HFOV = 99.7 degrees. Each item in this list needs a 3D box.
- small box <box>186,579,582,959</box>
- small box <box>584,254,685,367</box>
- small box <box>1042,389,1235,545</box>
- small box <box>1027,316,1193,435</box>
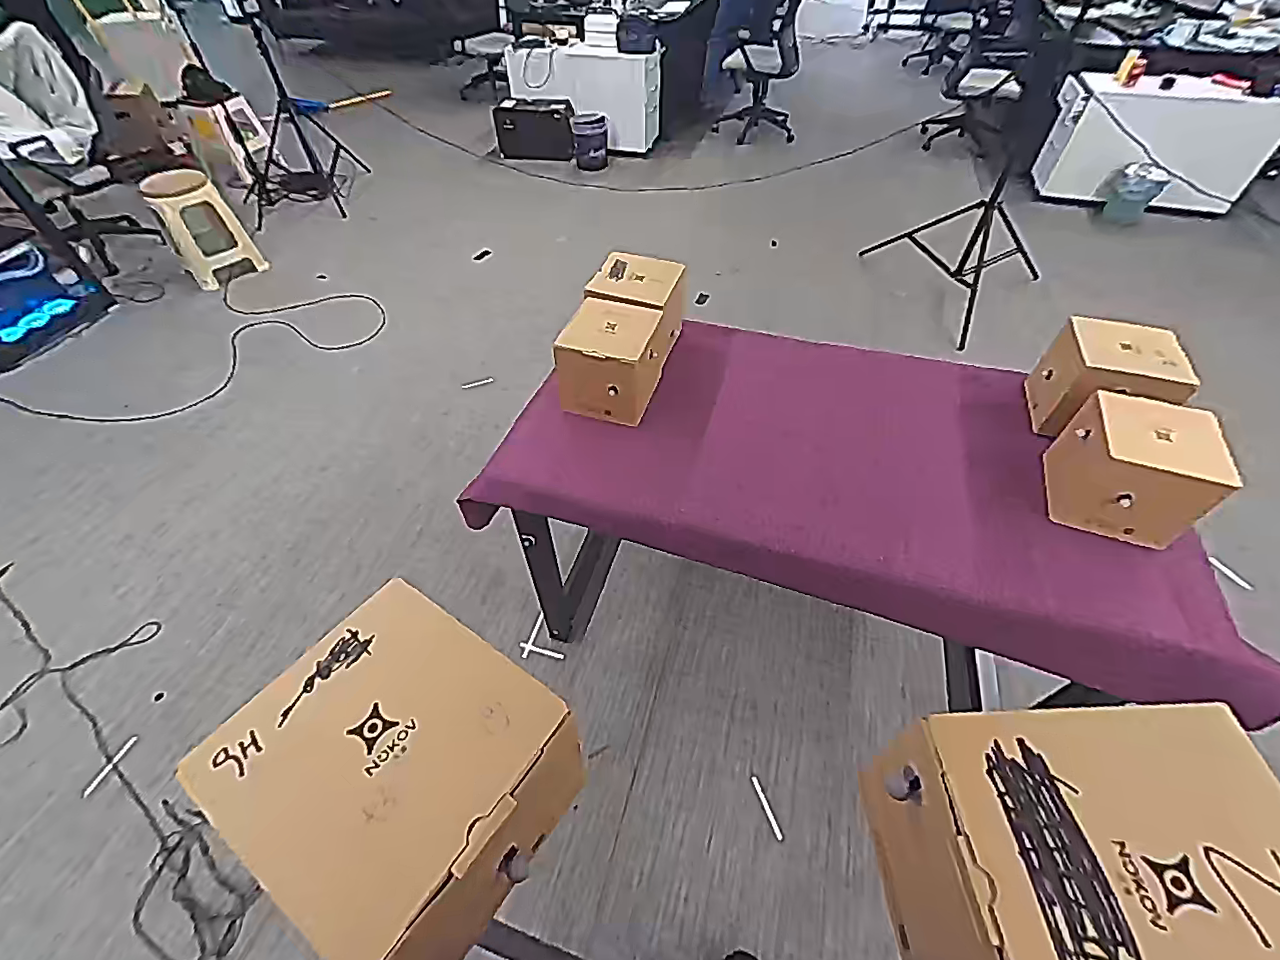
[{"bbox_3d":[-0.155,0.213,0.393,0.179,0.176,0.168,29,53,21],"label":"small box"},{"bbox_3d":[-0.010,-0.375,1.209,0.179,0.176,0.168,16,53,12],"label":"small box"},{"bbox_3d":[0.809,-0.020,0.903,0.168,0.176,0.179,16,51,15],"label":"small box"},{"bbox_3d":[0.876,-0.186,1.036,0.179,0.176,0.168,14,52,12],"label":"small box"}]
